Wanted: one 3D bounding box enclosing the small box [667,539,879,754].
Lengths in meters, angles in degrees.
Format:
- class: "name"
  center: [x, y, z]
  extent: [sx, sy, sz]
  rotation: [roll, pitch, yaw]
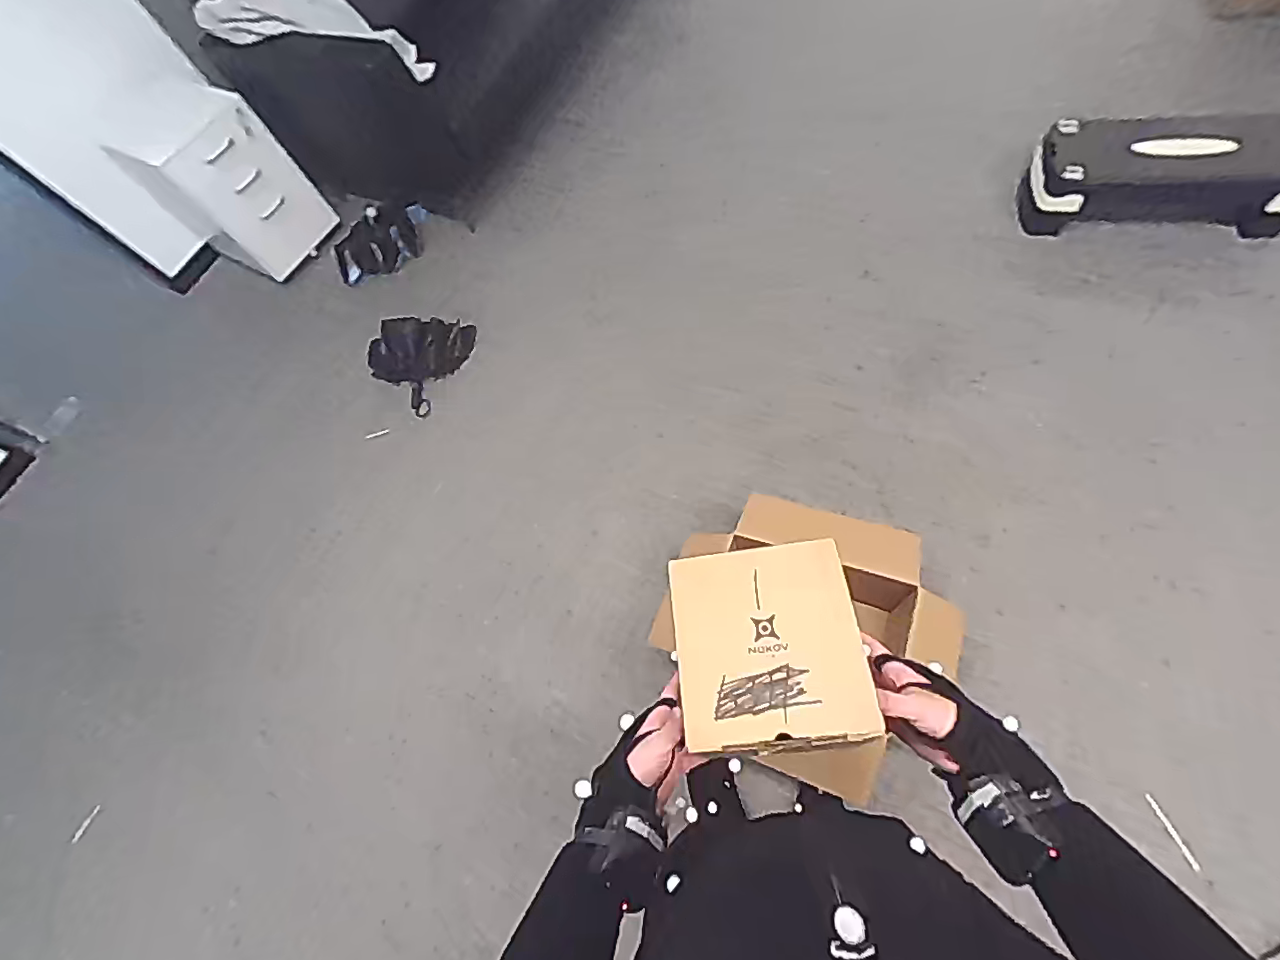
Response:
- class: "small box"
  center: [0.128, 0.181, 0.558]
  extent: [0.168, 0.176, 0.179]
  rotation: [-9, 60, 8]
